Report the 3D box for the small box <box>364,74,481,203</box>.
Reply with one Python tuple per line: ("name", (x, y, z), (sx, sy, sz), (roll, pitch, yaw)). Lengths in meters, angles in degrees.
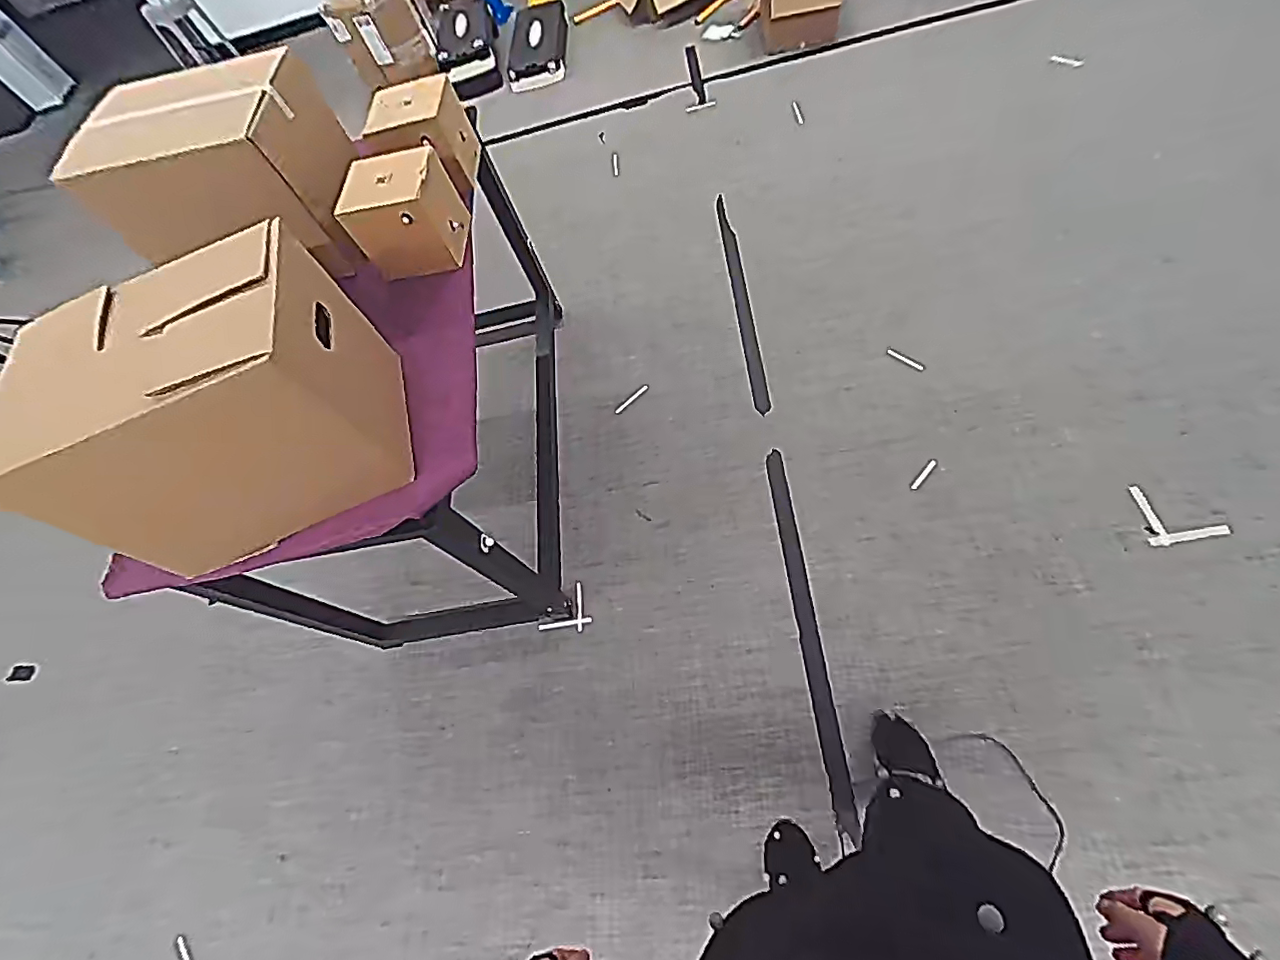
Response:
("small box", (-0.479, -0.763, 1.221), (0.179, 0.176, 0.168), (-8, 61, 11))
